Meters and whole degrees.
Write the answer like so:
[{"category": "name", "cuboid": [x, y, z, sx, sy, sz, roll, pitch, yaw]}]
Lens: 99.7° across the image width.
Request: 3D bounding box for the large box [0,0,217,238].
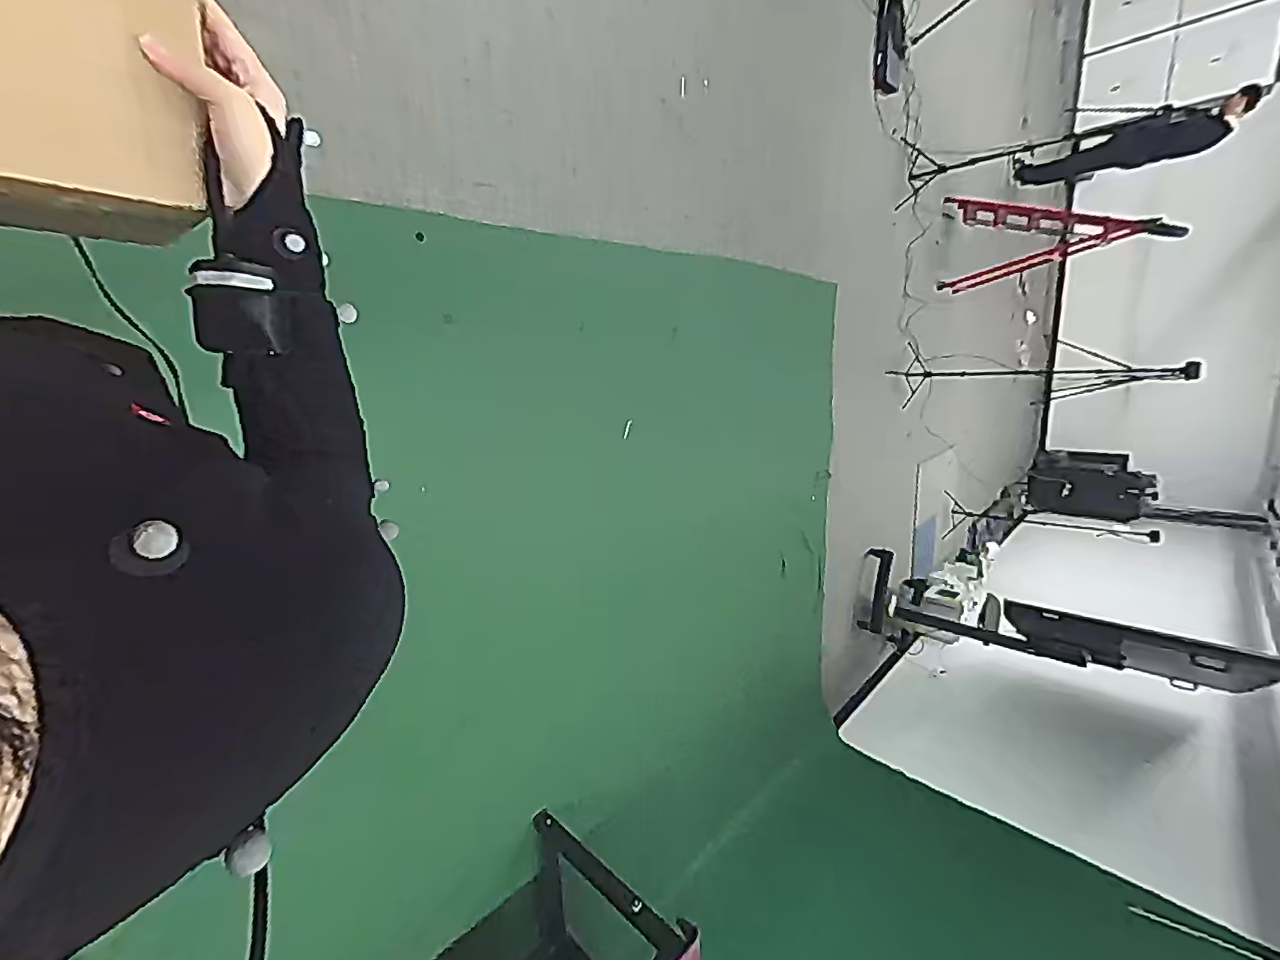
[{"category": "large box", "cuboid": [-0.552, -0.352, 0.322, 0.408, 0.320, 0.320, -11, 111, -46]}]
